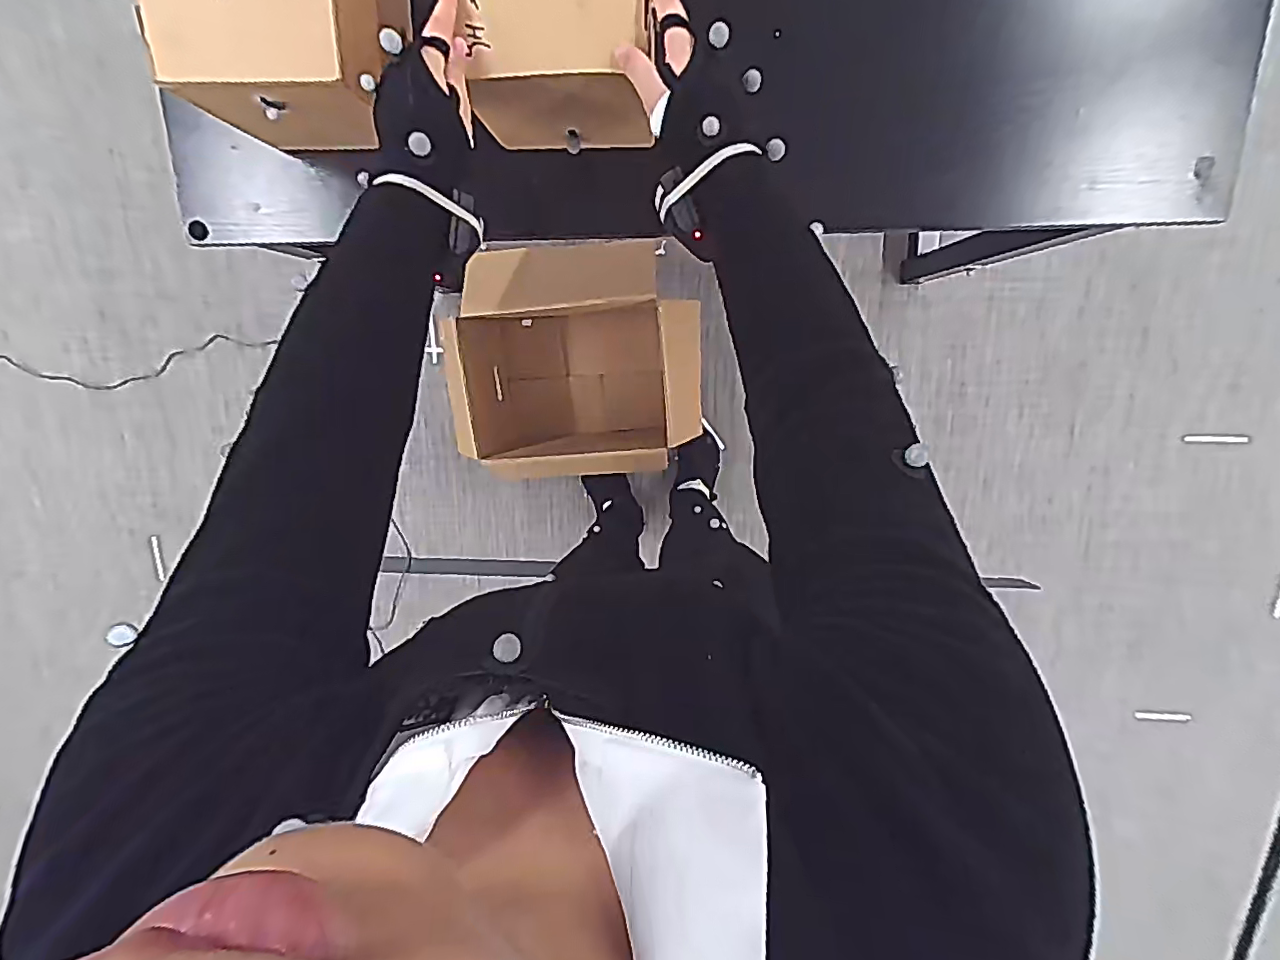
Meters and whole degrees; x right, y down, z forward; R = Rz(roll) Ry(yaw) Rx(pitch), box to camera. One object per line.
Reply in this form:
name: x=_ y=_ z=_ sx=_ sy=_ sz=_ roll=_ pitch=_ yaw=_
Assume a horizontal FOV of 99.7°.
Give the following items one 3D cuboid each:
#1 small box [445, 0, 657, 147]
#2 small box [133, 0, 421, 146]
small box: x=-0.073 y=-0.438 z=0.514 sx=0.179 sy=0.176 sz=0.168 roll=0 pitch=103 yaw=2
small box: x=-0.338 y=-0.443 z=0.524 sx=0.179 sy=0.176 sz=0.168 roll=0 pitch=105 yaw=1
